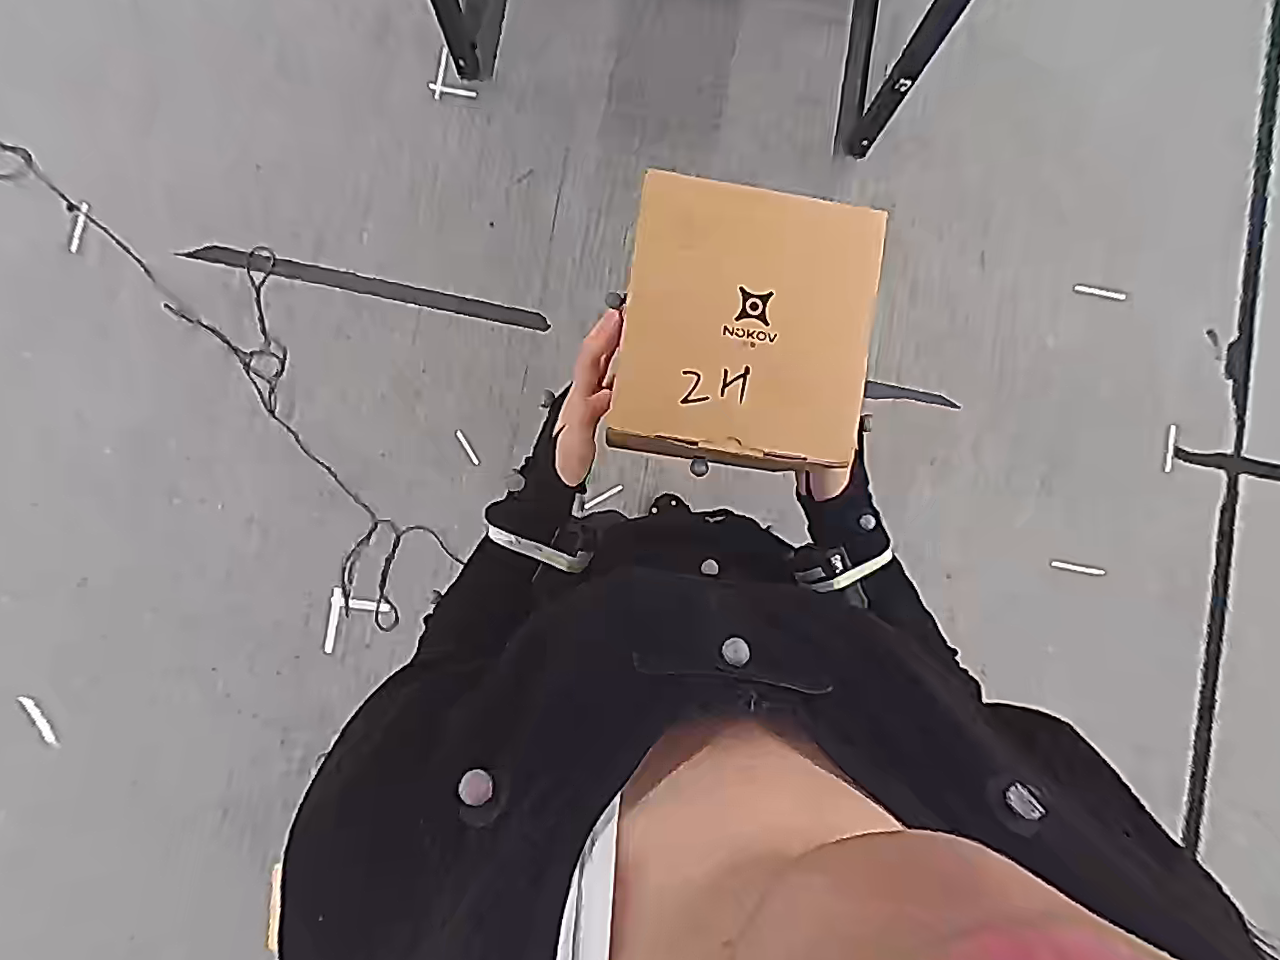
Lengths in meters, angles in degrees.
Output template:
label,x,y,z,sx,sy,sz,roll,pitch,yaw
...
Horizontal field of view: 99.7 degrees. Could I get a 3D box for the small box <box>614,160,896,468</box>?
label,x,y,z,sx,sy,sz,roll,pitch,yaw
small box,0.071,-0.108,0.429,0.168,0.176,0.179,8,90,-3
